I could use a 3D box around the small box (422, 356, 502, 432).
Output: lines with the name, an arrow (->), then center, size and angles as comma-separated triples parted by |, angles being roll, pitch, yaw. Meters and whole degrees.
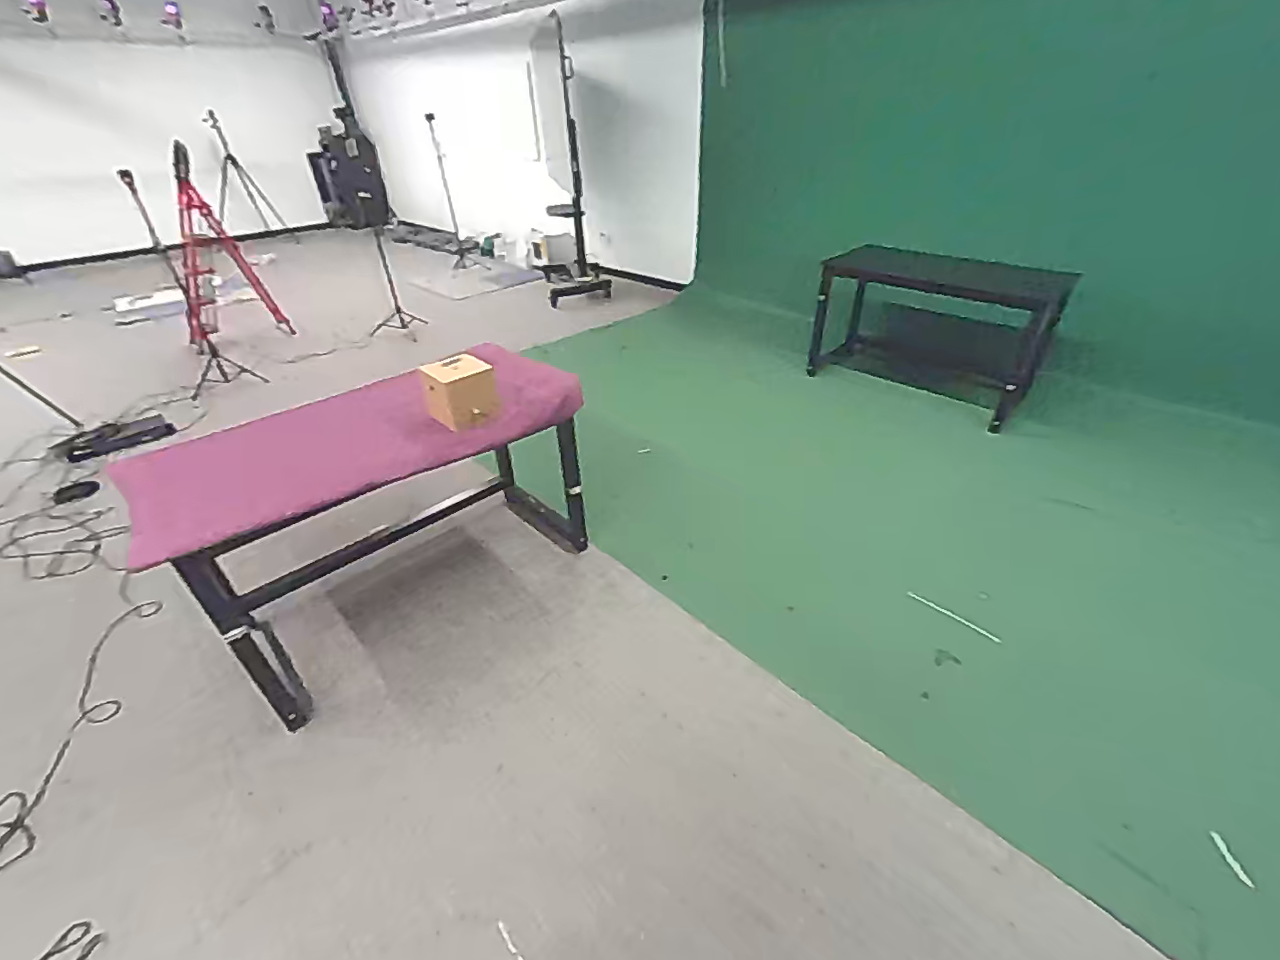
small box -> -0.557, -0.272, 1.702 | 0.168, 0.176, 0.179 | -29, 43, -34
